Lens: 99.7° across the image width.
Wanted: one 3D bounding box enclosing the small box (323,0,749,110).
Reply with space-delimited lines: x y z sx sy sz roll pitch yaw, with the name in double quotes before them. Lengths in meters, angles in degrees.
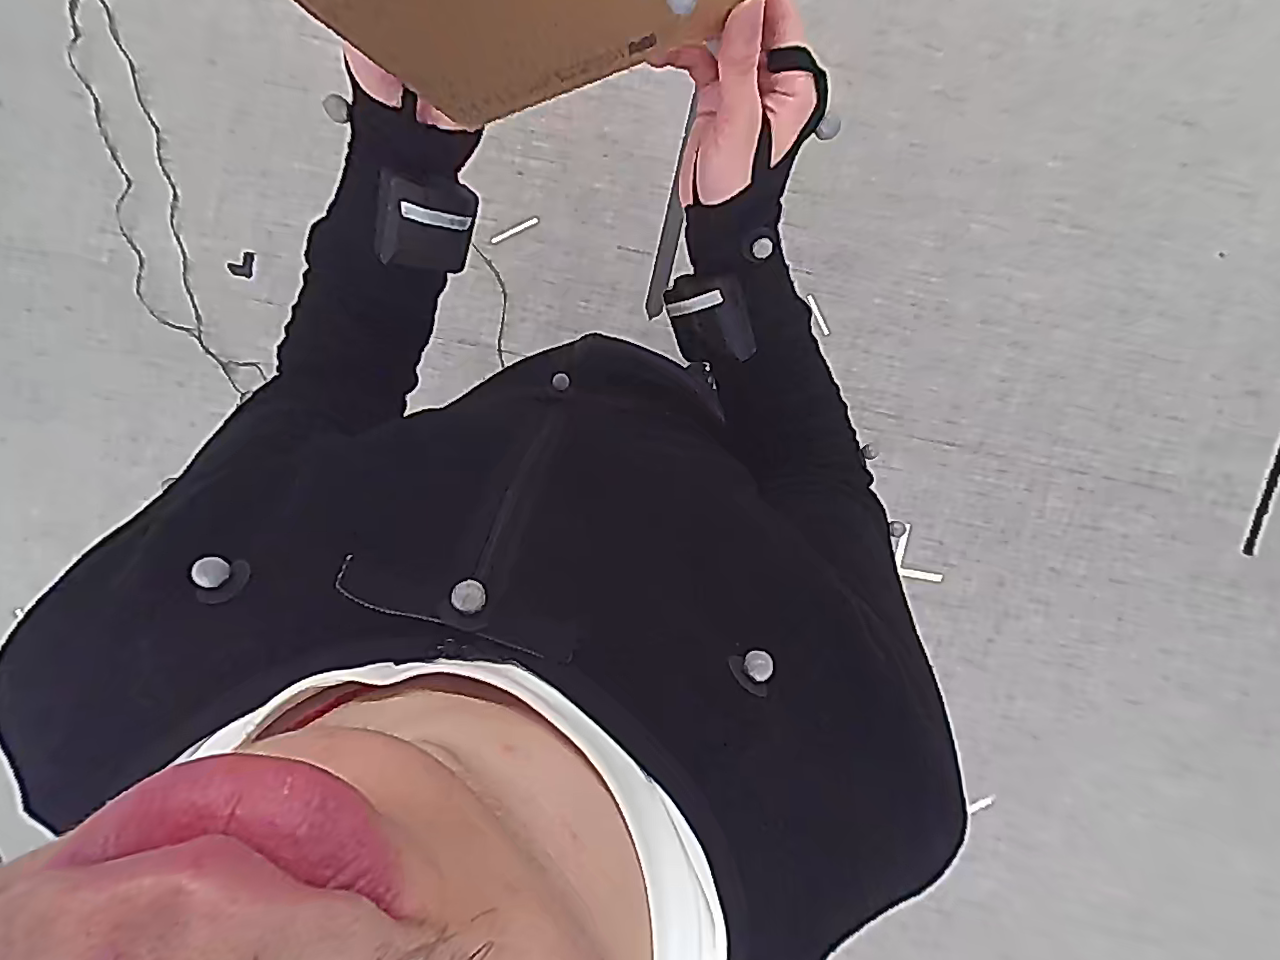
"small box" -0.044 -0.268 0.196 0.168 0.176 0.179 -18 109 6
